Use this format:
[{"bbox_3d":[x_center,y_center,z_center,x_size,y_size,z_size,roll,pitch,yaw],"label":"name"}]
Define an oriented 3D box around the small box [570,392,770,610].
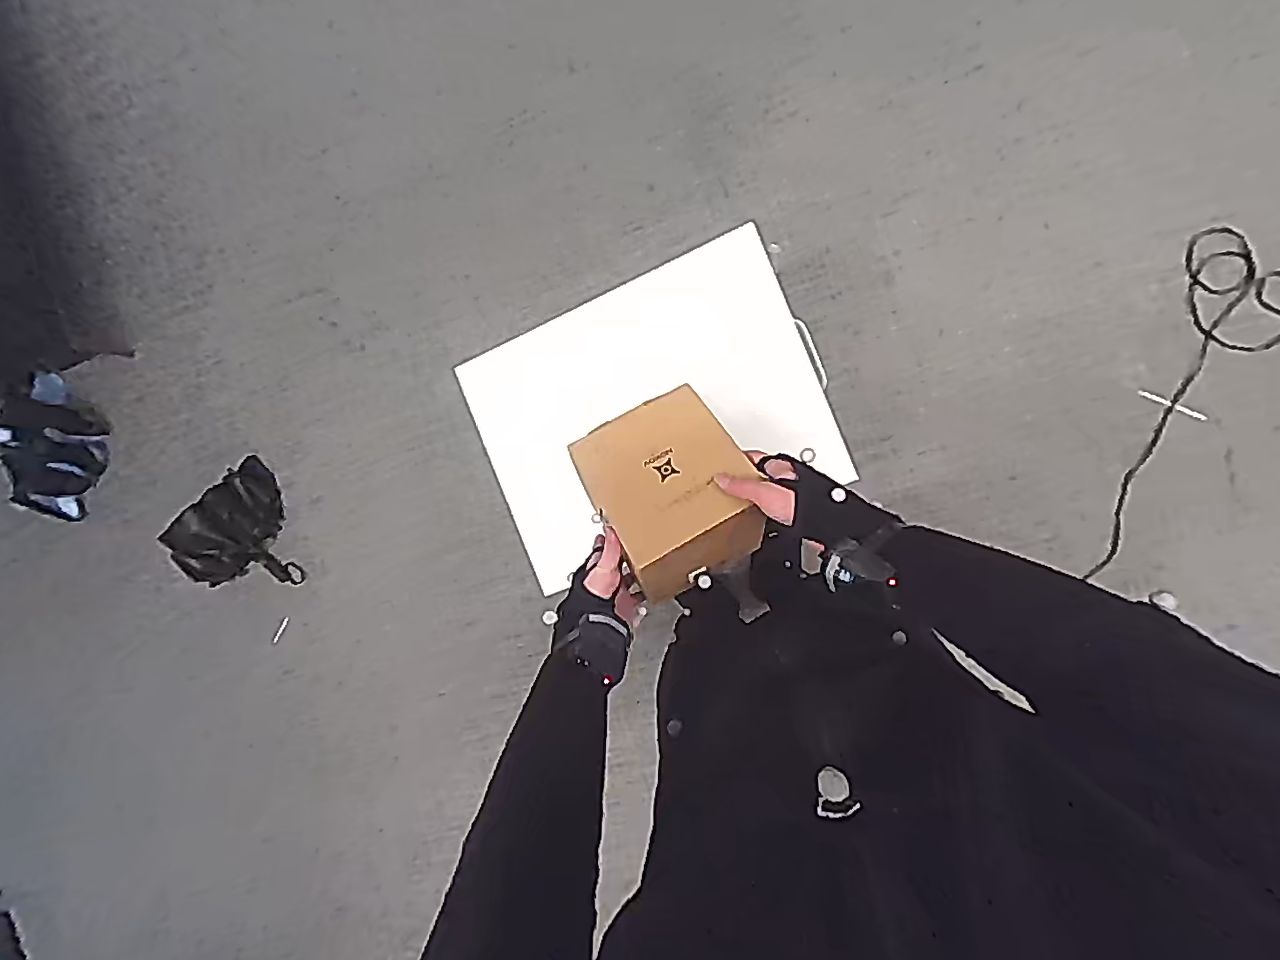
[{"bbox_3d":[0.036,0.032,0.665,0.168,0.176,0.179,-29,62,-7],"label":"small box"}]
